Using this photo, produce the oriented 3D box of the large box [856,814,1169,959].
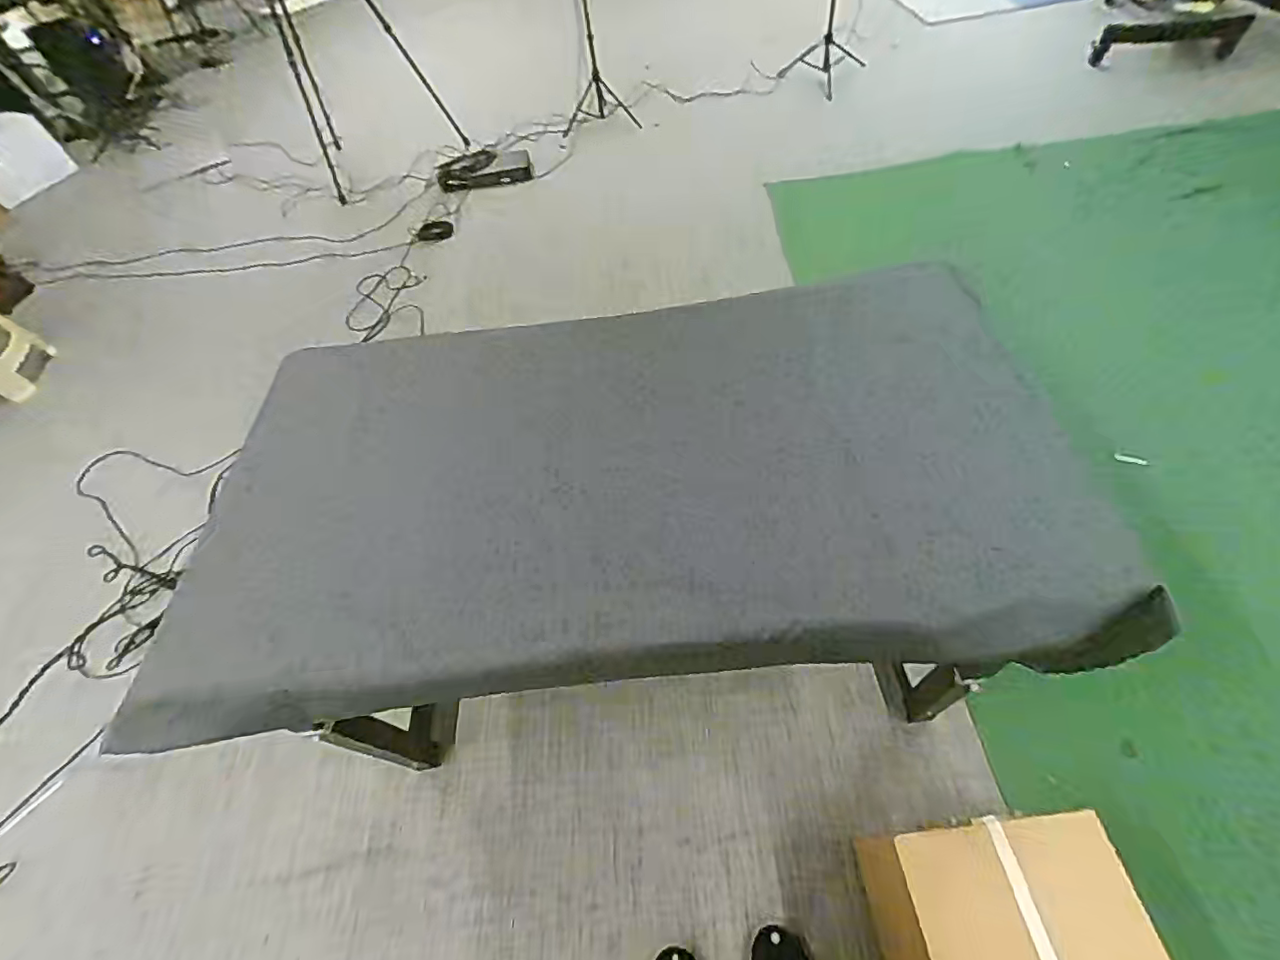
[{"bbox_3d":[0.581,0.778,0.835,0.320,0.320,0.408,-9,54,2],"label":"large box"}]
